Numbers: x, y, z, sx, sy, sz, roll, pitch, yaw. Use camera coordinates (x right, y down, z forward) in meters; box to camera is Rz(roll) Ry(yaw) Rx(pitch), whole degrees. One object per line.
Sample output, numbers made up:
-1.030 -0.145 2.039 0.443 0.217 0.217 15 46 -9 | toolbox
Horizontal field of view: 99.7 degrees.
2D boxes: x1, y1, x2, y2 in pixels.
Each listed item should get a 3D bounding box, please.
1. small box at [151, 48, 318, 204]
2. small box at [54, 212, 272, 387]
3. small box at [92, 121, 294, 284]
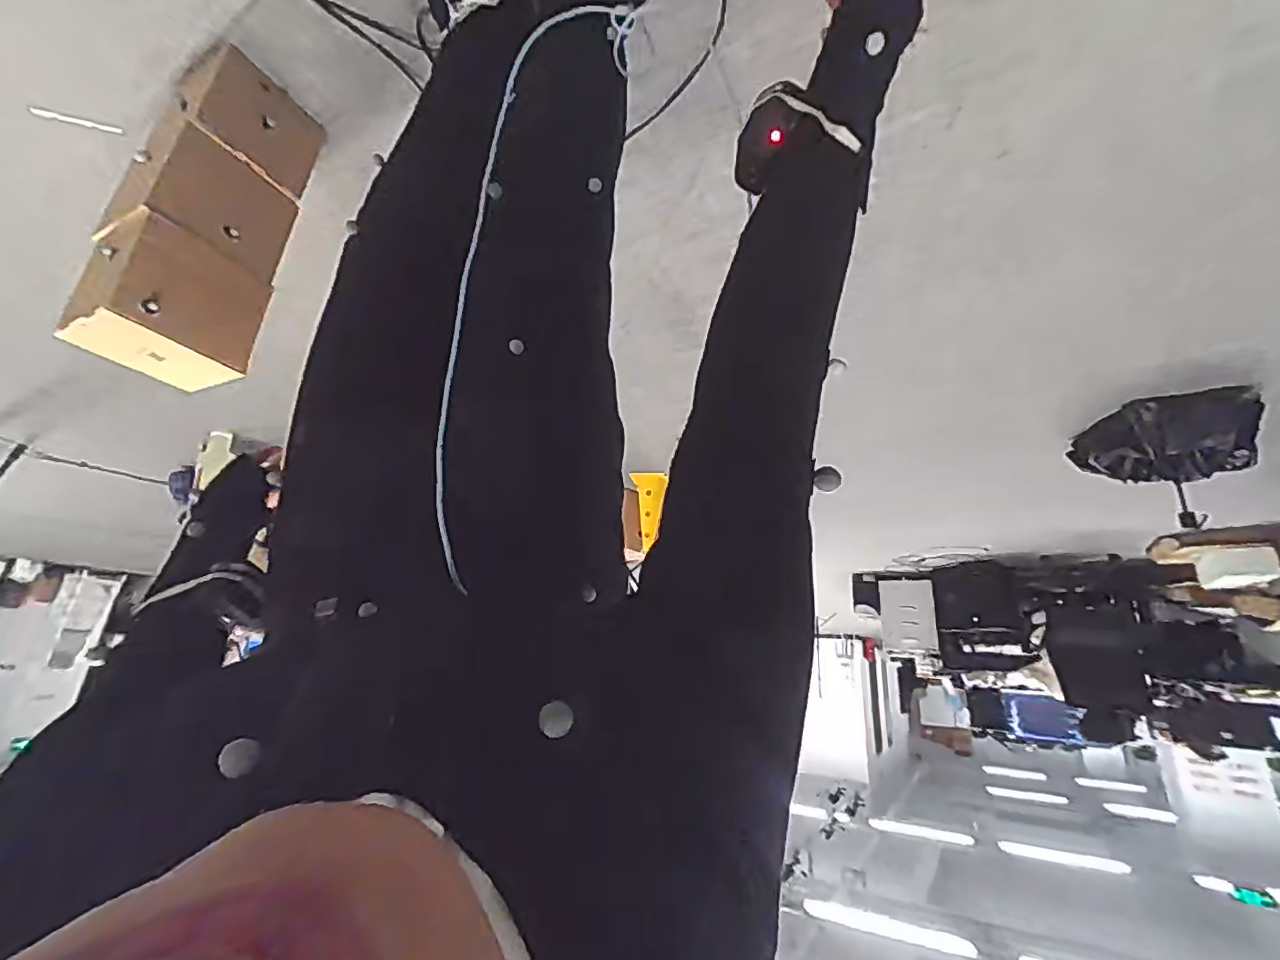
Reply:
-0.684 -0.576 0.920 0.179 0.176 0.168 -6 158 26 | small box
-0.708 -0.265 0.822 0.168 0.176 0.179 -5 158 26 | small box
-0.701 -0.421 0.868 0.168 0.176 0.179 -5 158 25 | small box
